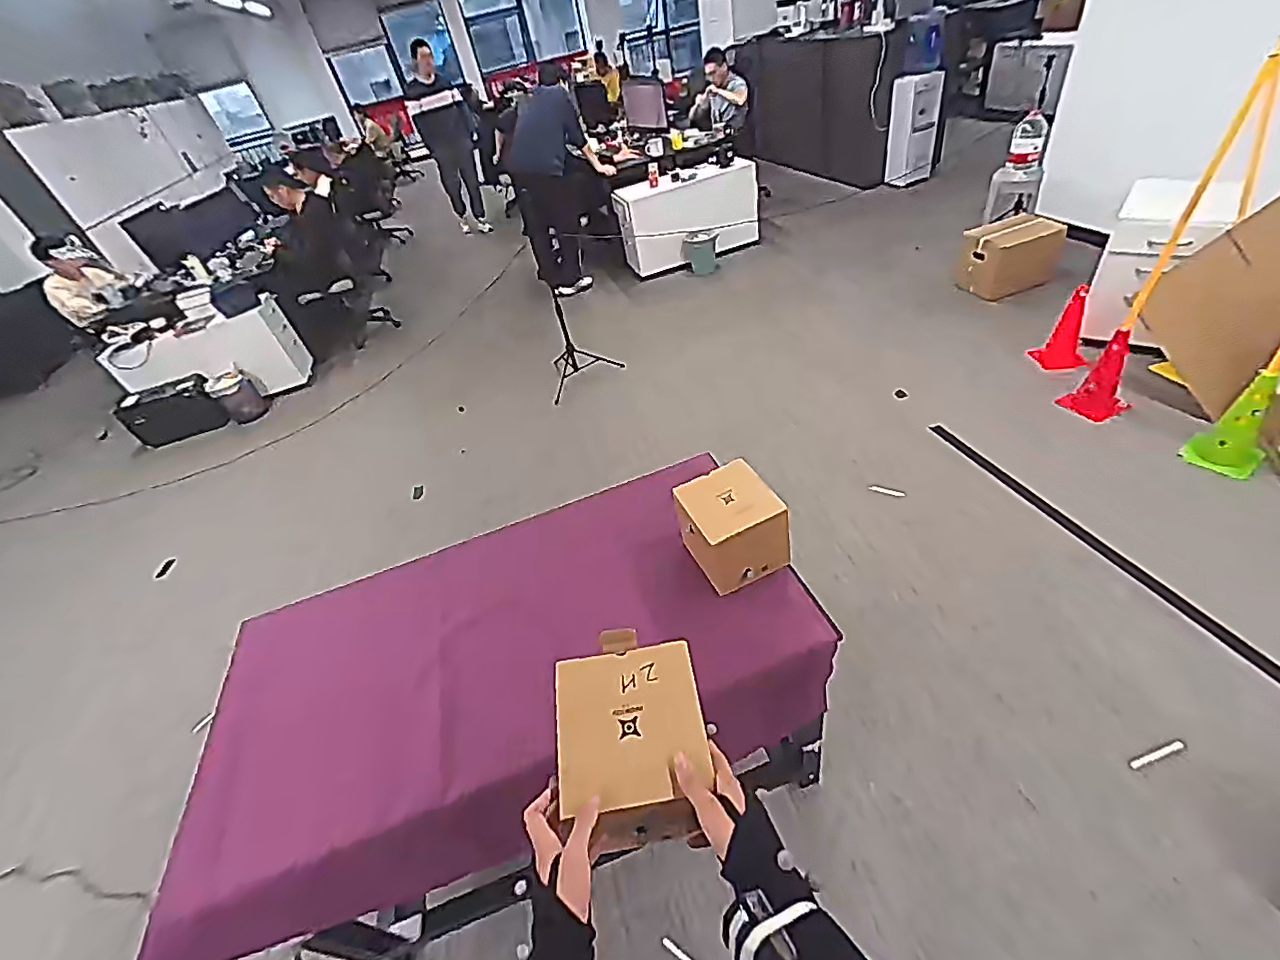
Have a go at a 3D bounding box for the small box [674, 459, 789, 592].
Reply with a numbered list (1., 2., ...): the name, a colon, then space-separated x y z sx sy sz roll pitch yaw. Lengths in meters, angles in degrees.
1. small box: 0.187 0.093 1.104 0.168 0.176 0.179 -24 42 -8

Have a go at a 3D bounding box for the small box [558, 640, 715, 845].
1. small box: -0.005 0.325 0.662 0.168 0.176 0.179 -7 43 -2
